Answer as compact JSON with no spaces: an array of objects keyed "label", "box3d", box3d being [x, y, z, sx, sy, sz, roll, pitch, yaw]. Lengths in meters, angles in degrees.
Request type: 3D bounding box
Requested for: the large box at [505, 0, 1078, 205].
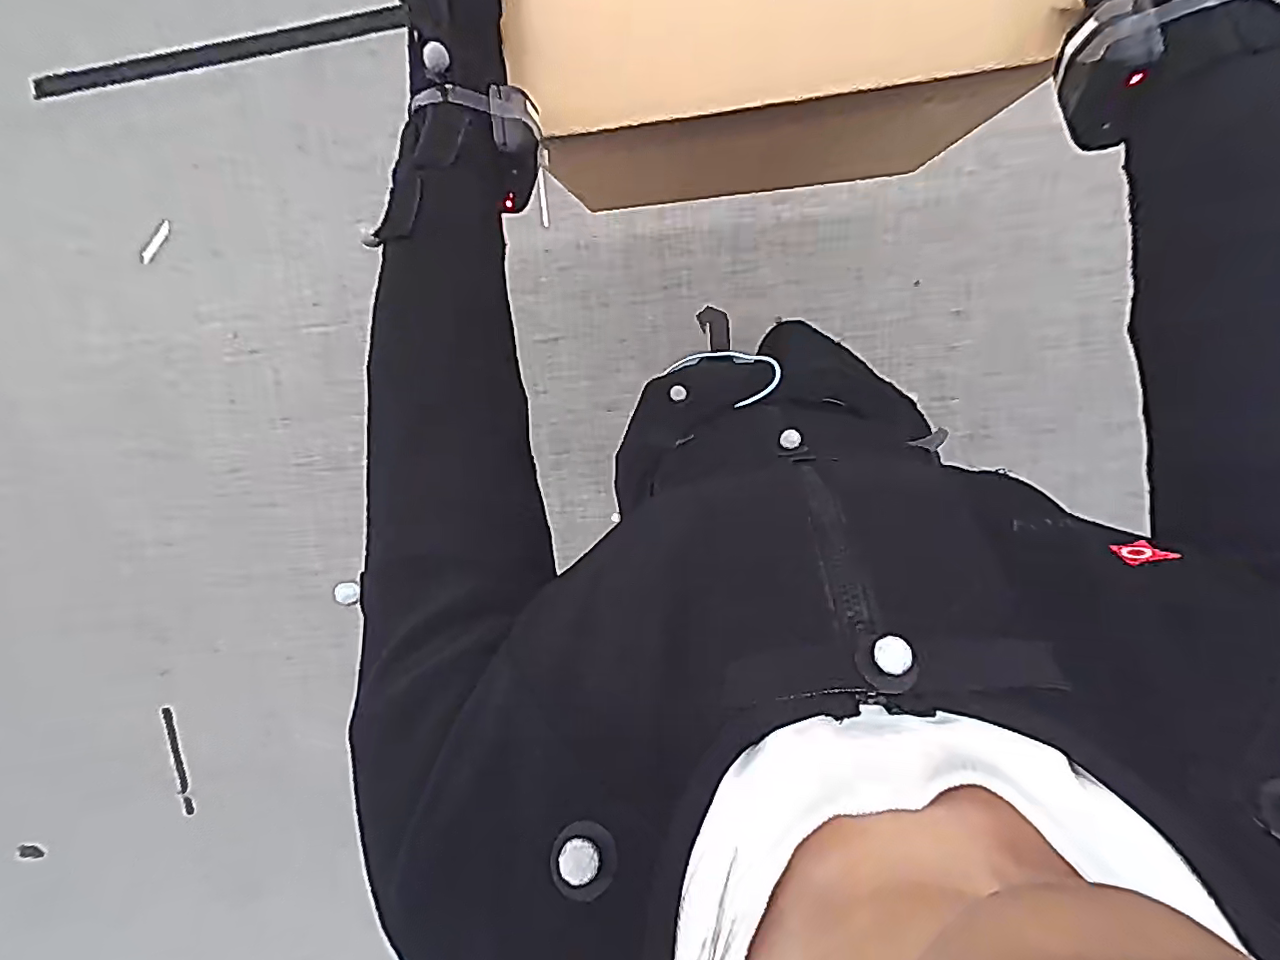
[{"label":"large box","box3d":[0.100,-0.477,0.499,0.408,0.320,0.320,-4,107,7]}]
